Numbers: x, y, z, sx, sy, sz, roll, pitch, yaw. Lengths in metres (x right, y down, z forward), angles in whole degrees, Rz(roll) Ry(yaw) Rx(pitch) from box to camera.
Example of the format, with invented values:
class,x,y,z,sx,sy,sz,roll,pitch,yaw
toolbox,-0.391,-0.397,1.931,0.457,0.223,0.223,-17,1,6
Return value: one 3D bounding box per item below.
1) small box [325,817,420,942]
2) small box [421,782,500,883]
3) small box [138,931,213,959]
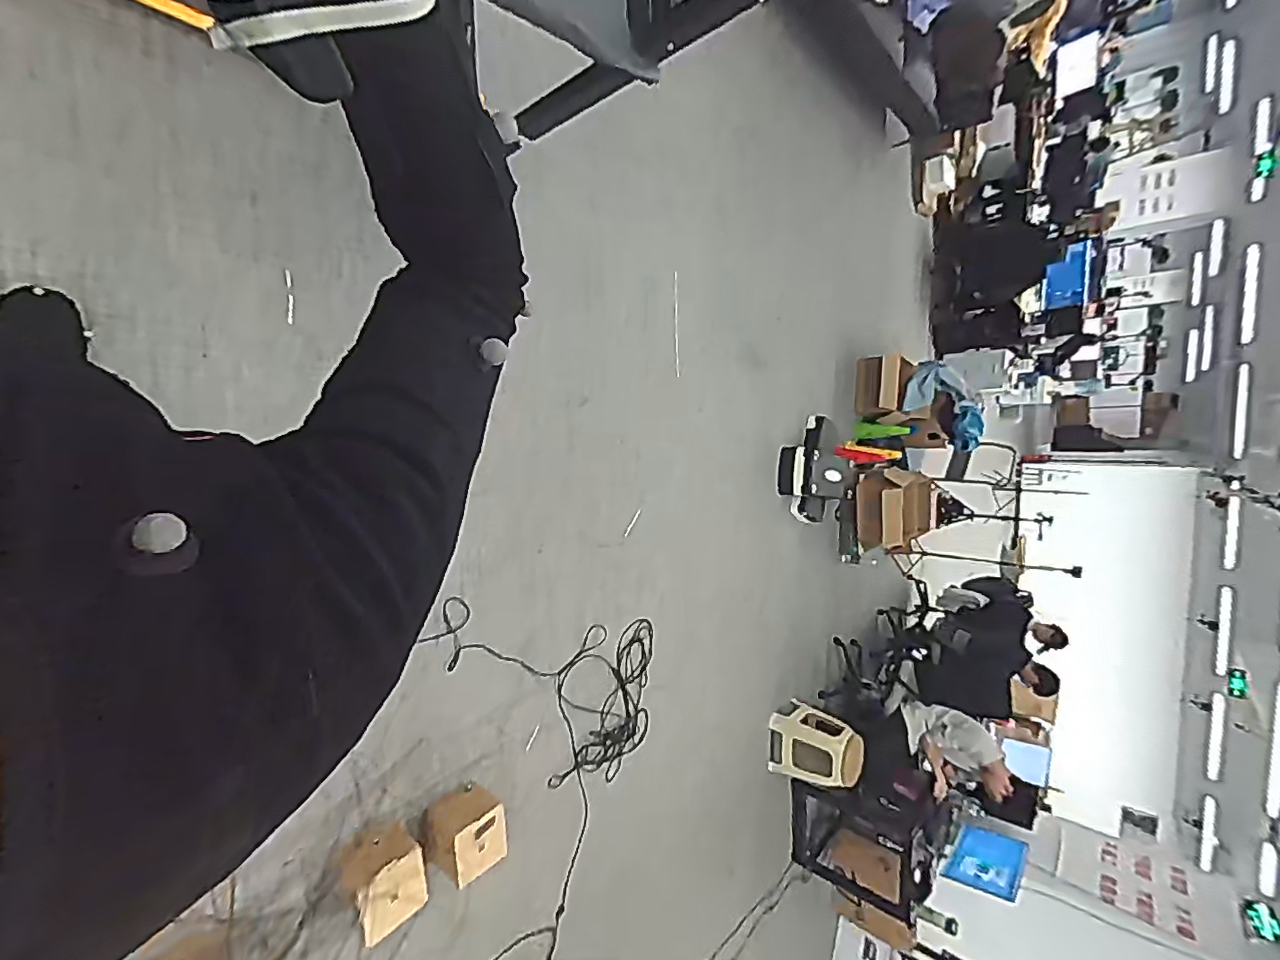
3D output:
class,x,y,z,sx,sy,sz,roll,pitch,yaw
small box,-0.717,1.059,1.451,0.168,0.176,0.179,-15,103,-48
small box,-0.550,1.056,1.644,0.168,0.176,0.179,-11,102,-49
small box,-0.995,1.104,1.130,0.168,0.176,0.179,-14,103,-47
